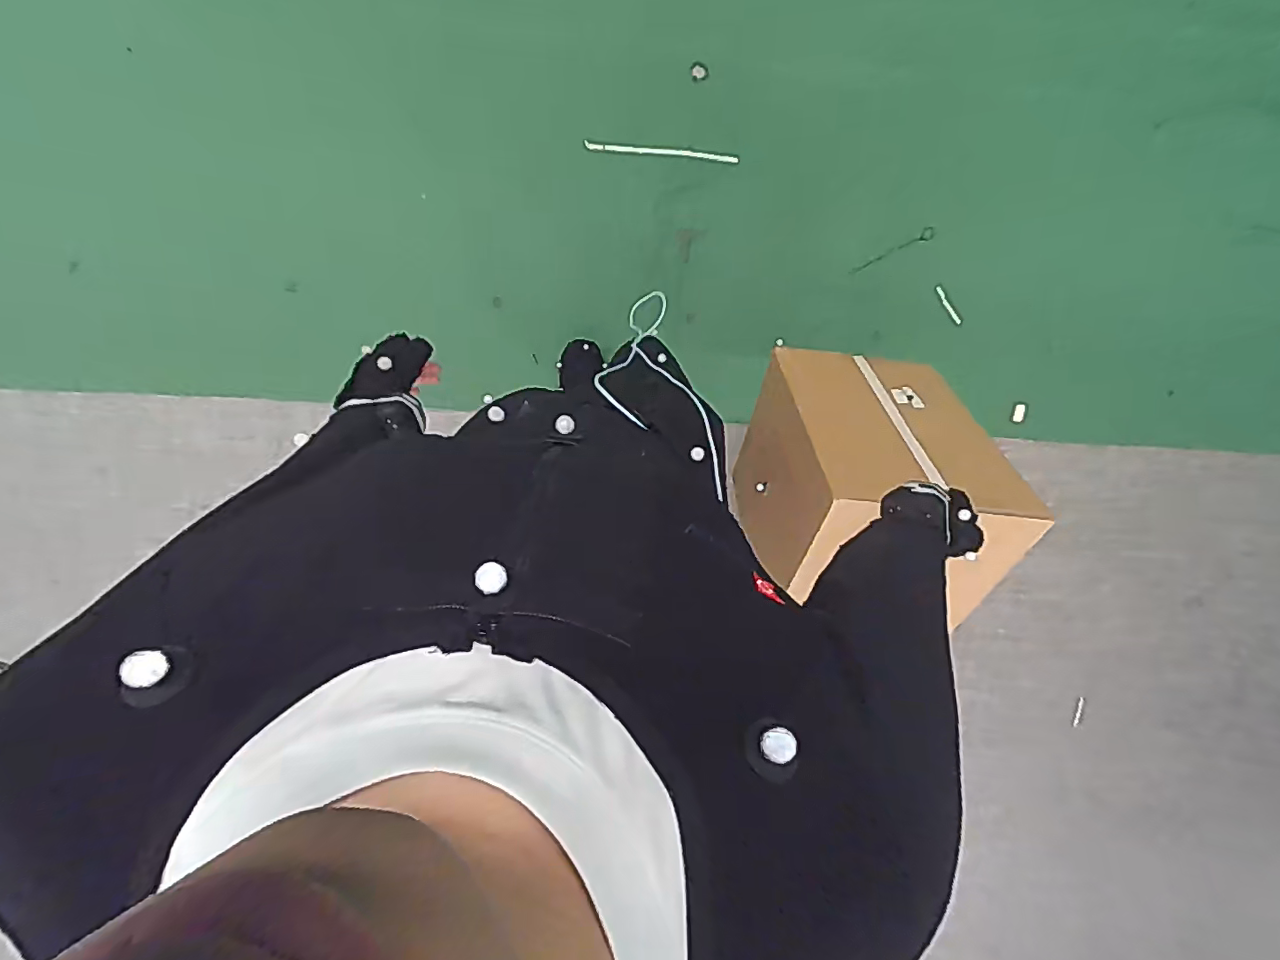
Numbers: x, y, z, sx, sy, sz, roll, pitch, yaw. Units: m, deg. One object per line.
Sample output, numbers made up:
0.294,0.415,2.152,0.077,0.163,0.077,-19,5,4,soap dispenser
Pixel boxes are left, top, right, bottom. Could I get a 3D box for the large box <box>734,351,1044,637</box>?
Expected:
0.377,0.020,0.960,0.320,0.408,0.320,7,130,-7,large box
